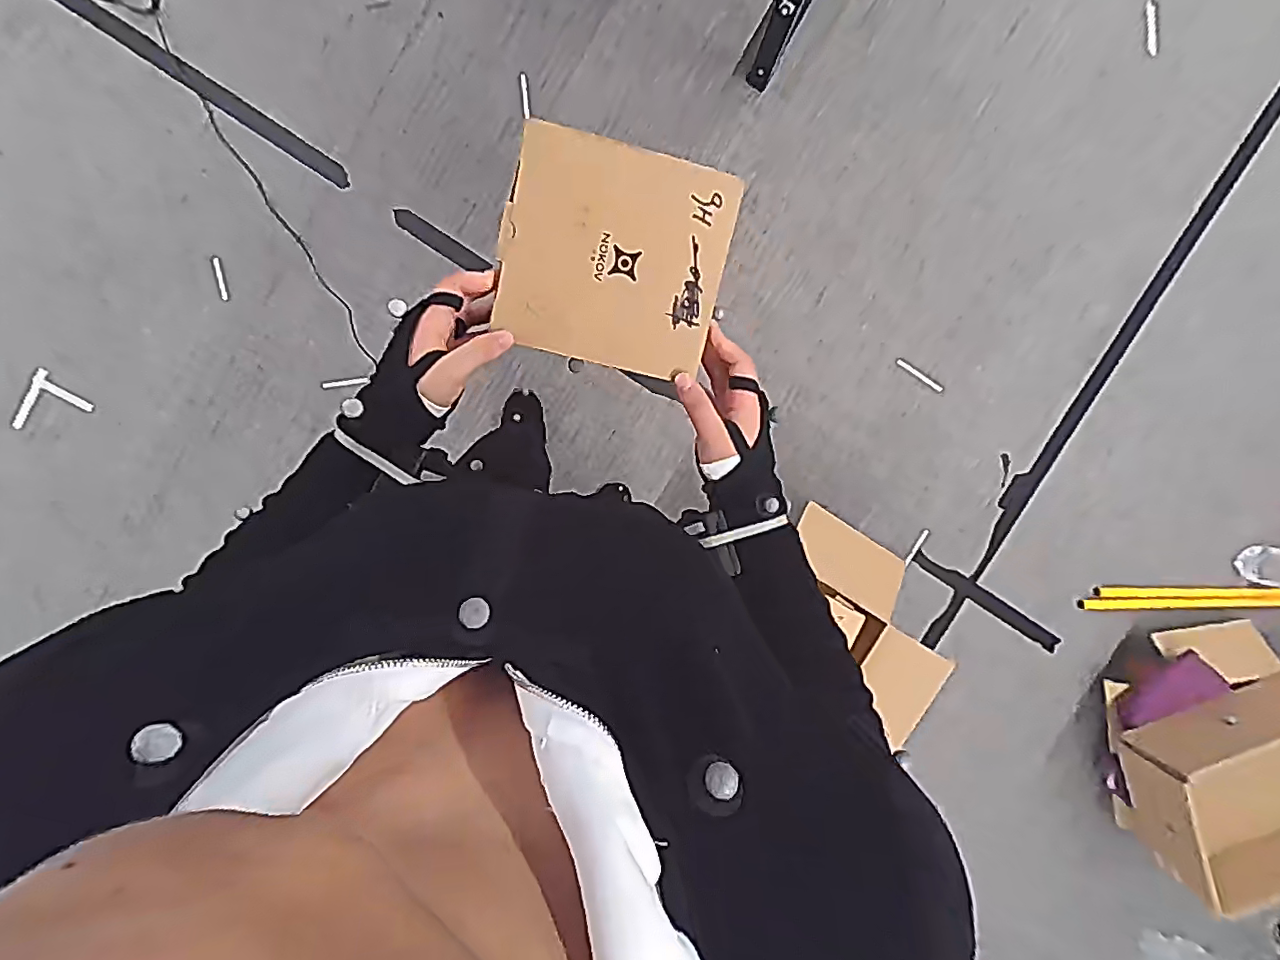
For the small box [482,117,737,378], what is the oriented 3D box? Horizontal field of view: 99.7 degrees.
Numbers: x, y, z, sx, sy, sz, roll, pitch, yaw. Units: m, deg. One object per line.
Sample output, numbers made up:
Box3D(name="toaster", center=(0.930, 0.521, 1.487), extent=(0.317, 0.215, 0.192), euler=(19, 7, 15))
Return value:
Box3D(name="small box", center=(-0.030, -0.195, 0.507), extent=(0.179, 0.176, 0.168), euler=(12, 101, -6))
